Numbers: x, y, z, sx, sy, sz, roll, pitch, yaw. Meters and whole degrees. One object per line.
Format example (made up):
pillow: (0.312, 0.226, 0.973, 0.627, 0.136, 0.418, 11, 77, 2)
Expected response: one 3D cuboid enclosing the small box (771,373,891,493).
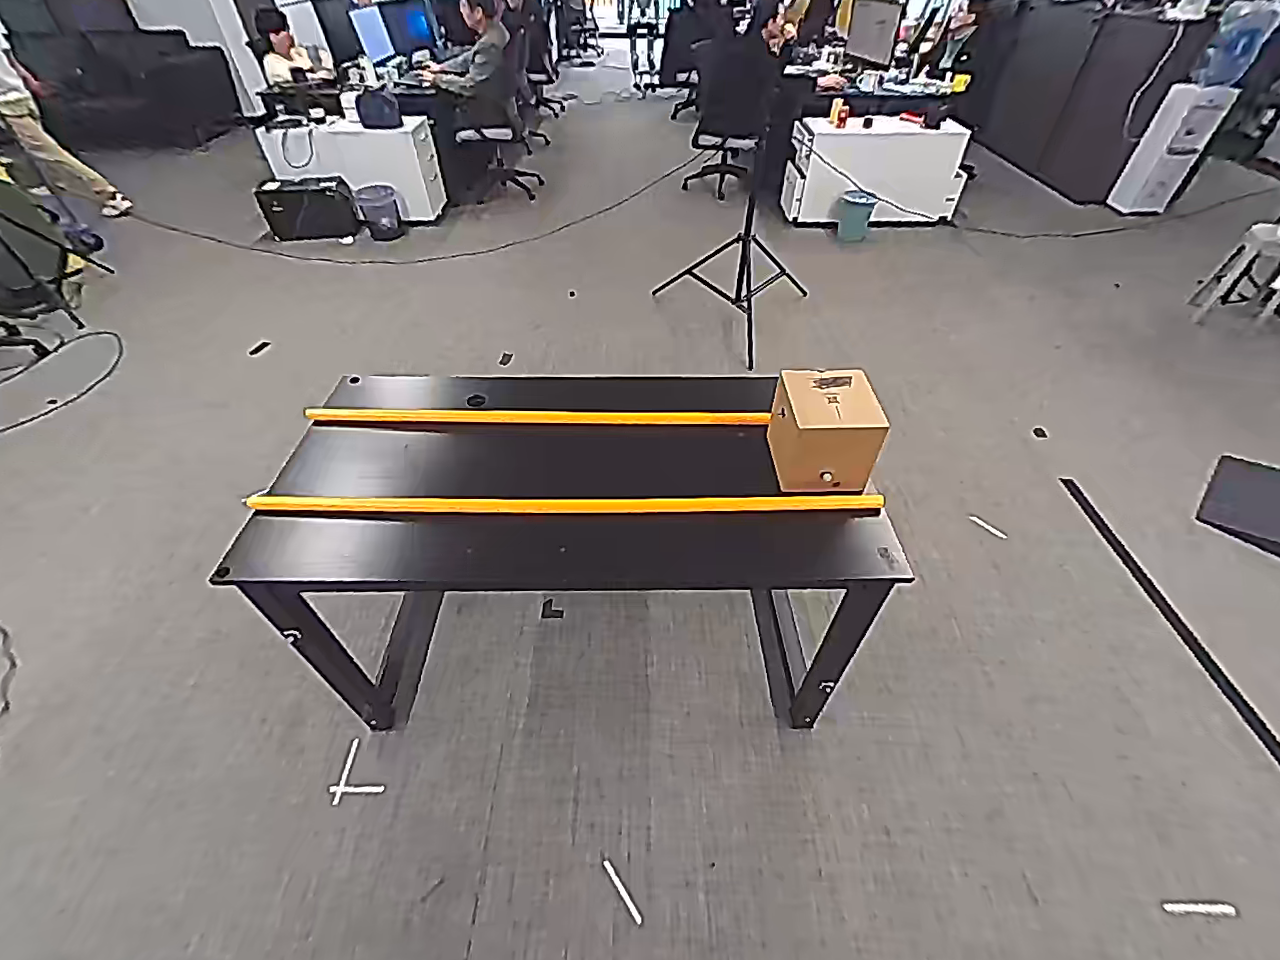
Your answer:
small box: (0.364, -0.094, 1.074, 0.168, 0.176, 0.179, -1, 45, 0)
